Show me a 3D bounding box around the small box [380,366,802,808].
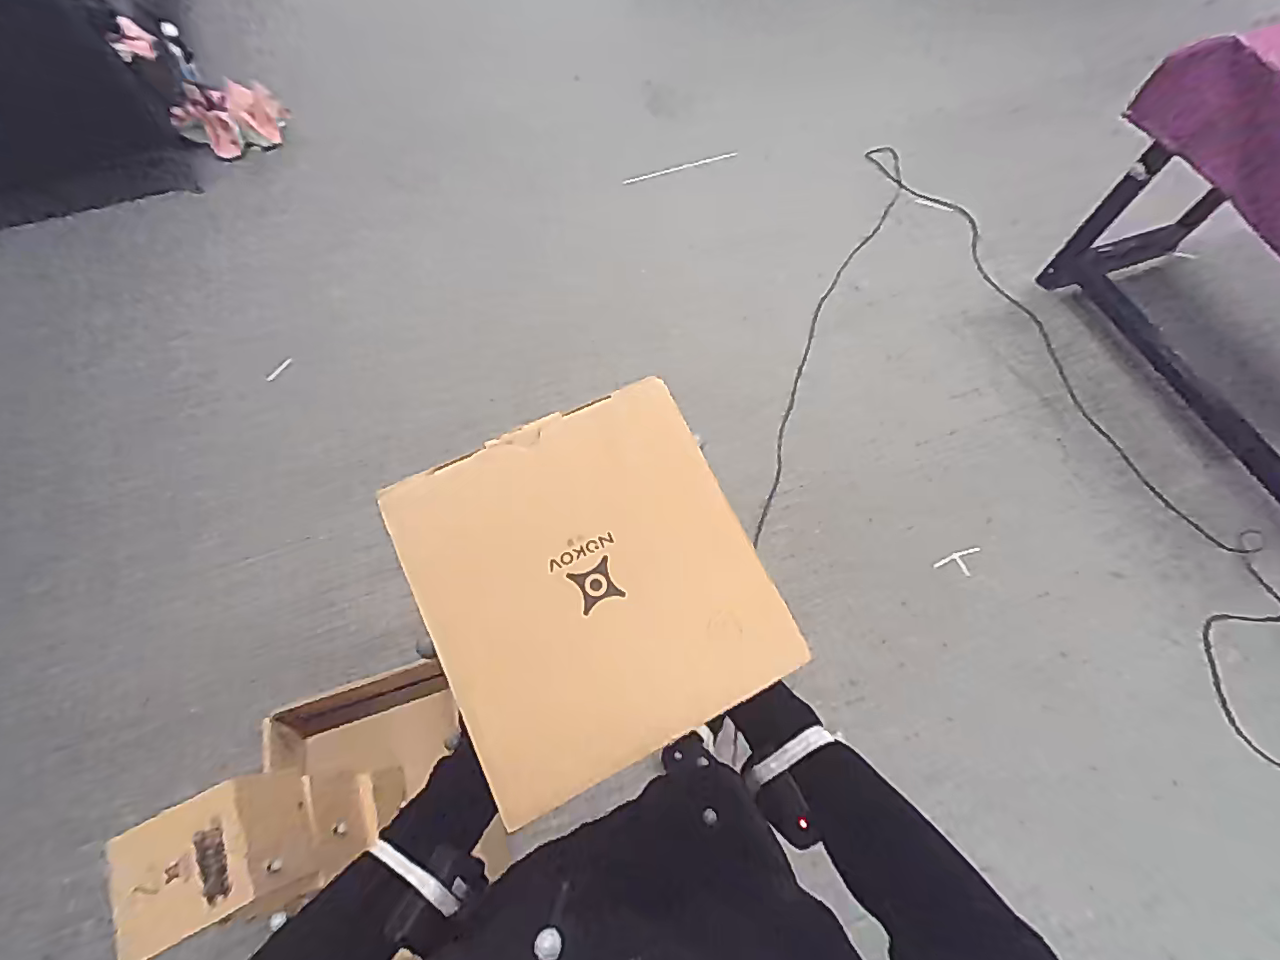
[{"bbox_3d":[-0.030,0.062,0.350,0.168,0.176,0.179,-24,77,-10],"label":"small box"}]

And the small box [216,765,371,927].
[{"bbox_3d":[-0.610,0.639,0.970,0.168,0.176,0.179,-21,69,-9],"label":"small box"}]

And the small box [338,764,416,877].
[{"bbox_3d":[-0.590,0.707,1.119,0.179,0.176,0.168,-17,68,-8],"label":"small box"}]
